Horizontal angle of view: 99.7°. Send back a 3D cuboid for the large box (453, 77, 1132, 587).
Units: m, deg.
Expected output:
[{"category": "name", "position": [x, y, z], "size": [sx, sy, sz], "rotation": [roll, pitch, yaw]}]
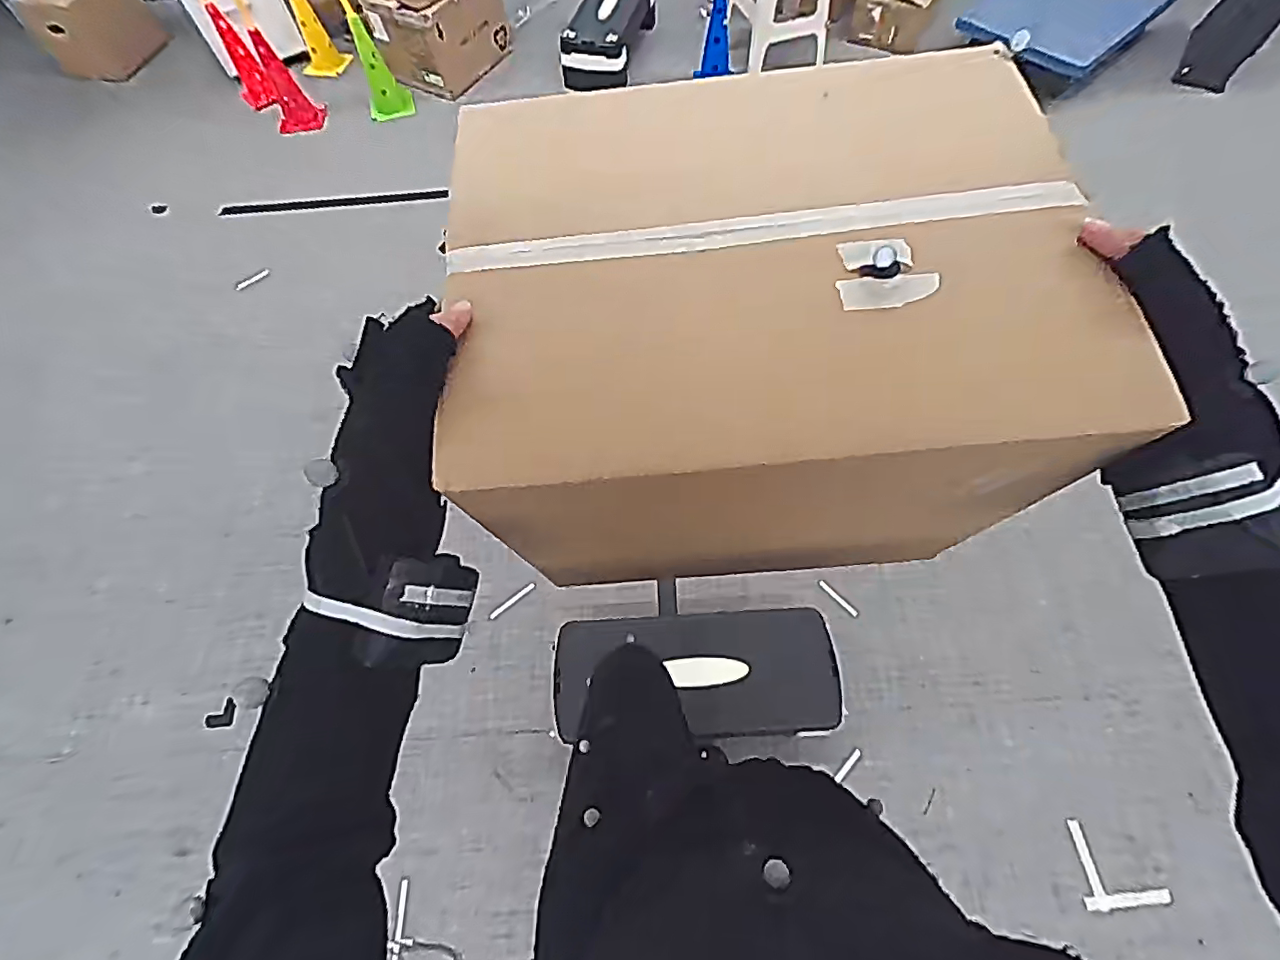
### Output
[{"category": "large box", "position": [0.081, -0.098, 0.506], "size": [0.408, 0.320, 0.320], "rotation": [-5, 68, 2]}]
